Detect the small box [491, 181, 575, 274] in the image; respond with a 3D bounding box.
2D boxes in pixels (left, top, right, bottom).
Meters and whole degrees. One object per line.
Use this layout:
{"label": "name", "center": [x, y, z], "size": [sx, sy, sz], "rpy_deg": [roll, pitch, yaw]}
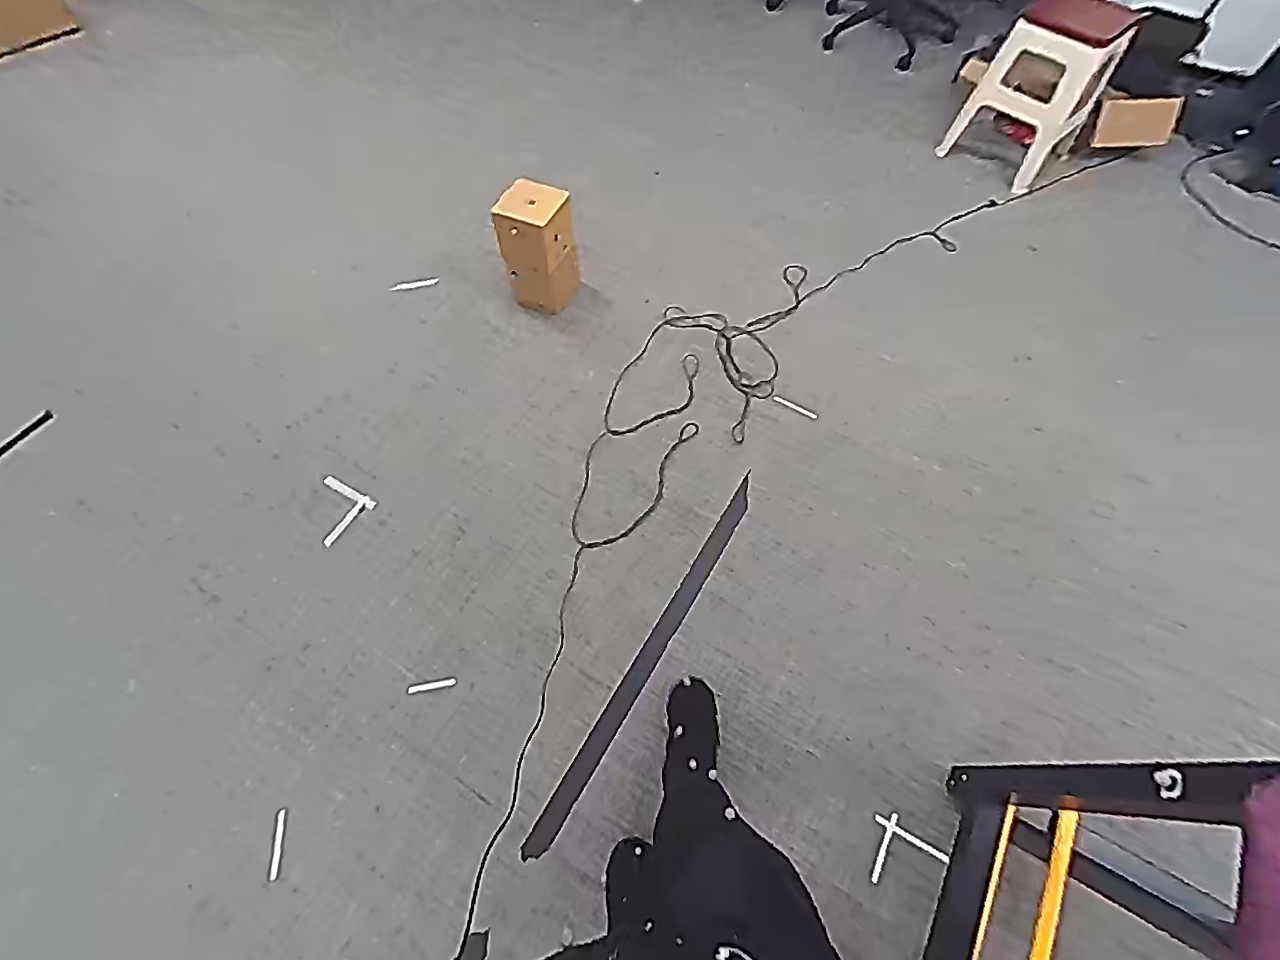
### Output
{"label": "small box", "center": [-0.308, -0.745, 1.608], "size": [0.179, 0.176, 0.168], "rpy_deg": [21, 63, 11]}
